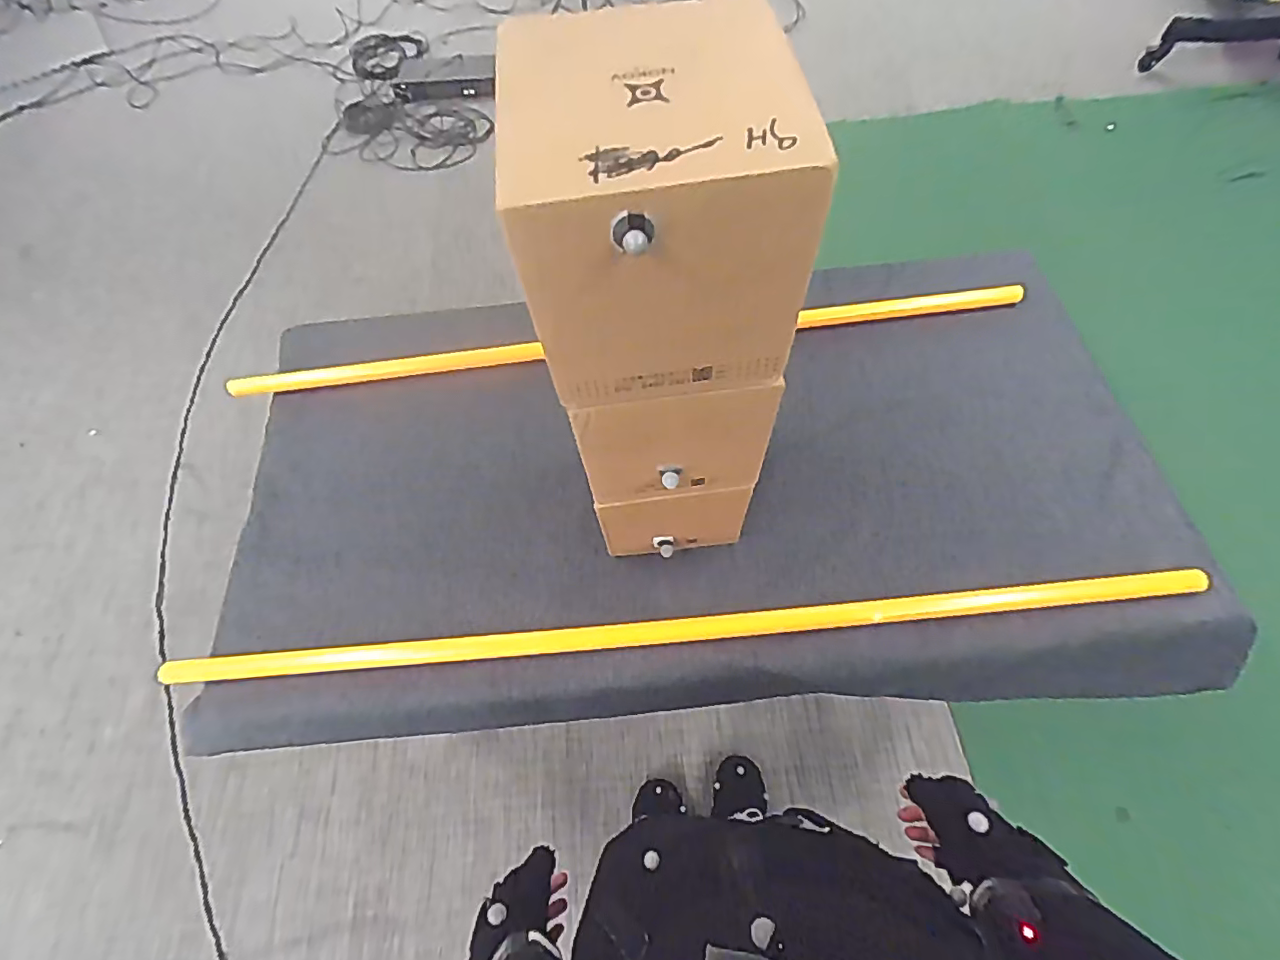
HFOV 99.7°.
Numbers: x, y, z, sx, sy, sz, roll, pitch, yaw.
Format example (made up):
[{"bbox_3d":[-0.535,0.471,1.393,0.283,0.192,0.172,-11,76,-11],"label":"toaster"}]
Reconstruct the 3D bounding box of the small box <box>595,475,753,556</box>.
[{"bbox_3d":[0.031,-0.023,0.664,0.168,0.176,0.179,-9,64,1],"label":"small box"}]

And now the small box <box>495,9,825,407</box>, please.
[{"bbox_3d":[0.008,-0.176,0.374,0.168,0.176,0.179,-8,62,1],"label":"small box"}]

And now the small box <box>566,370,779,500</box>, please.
[{"bbox_3d":[0.022,-0.099,0.518,0.168,0.176,0.179,-7,63,1],"label":"small box"}]
